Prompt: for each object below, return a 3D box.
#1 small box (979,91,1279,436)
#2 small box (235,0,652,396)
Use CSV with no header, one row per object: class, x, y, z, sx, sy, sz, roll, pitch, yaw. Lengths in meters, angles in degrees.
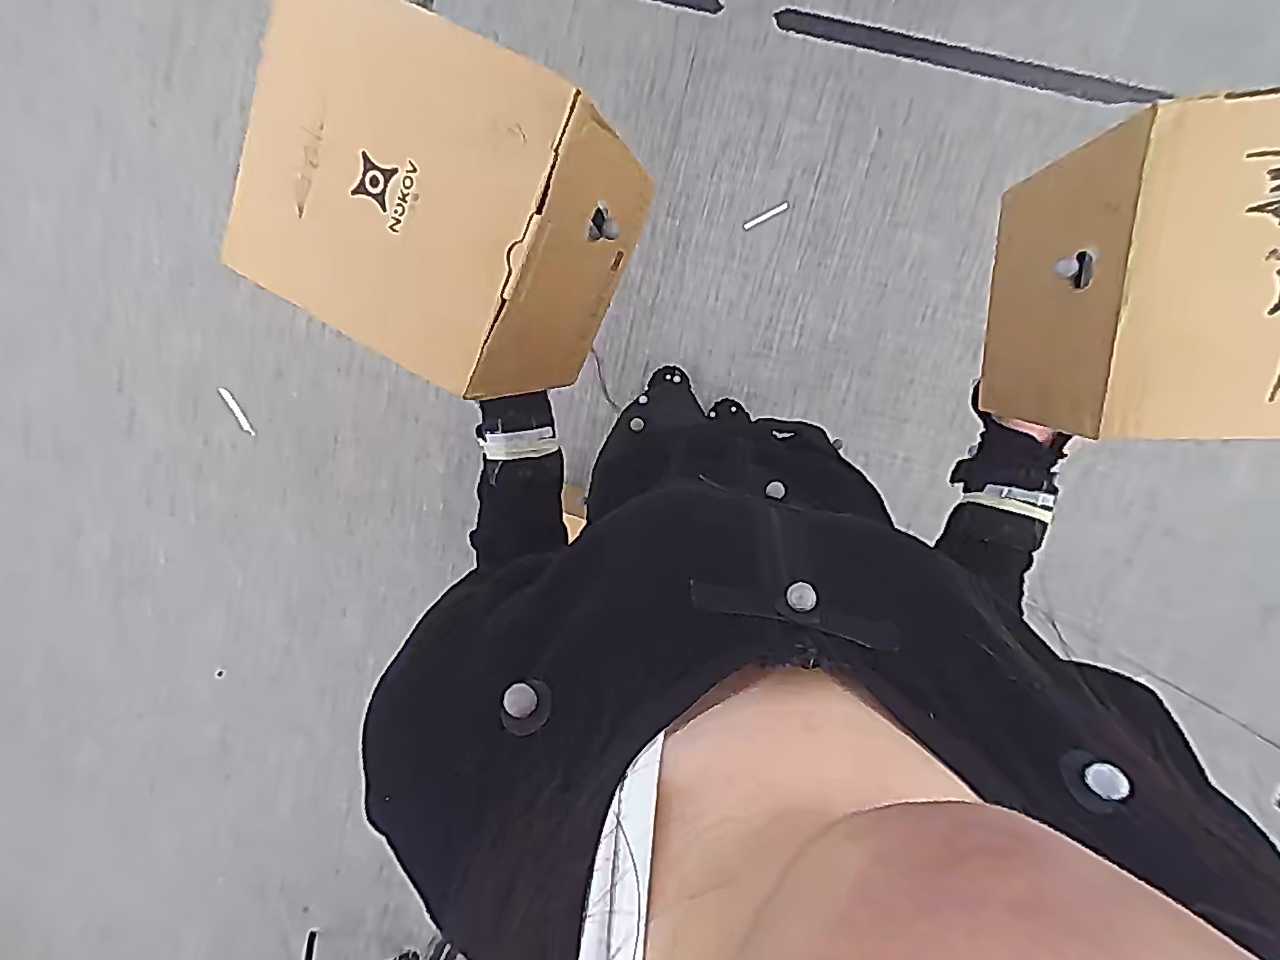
small box,0.356,-0.128,0.362,0.168,0.176,0.179,1,104,10
small box,-0.111,-0.174,0.362,0.179,0.176,0.168,29,107,7
